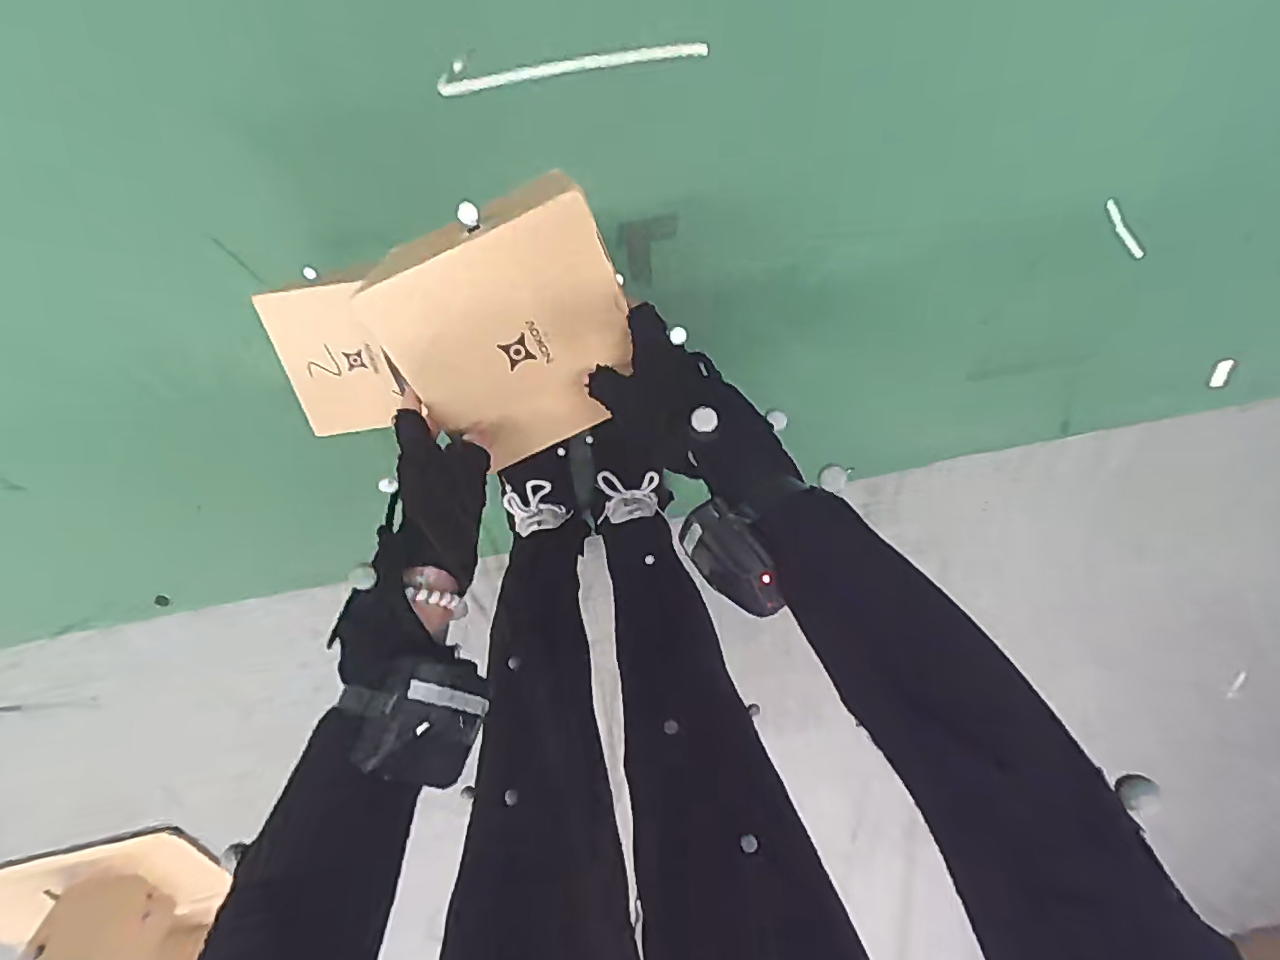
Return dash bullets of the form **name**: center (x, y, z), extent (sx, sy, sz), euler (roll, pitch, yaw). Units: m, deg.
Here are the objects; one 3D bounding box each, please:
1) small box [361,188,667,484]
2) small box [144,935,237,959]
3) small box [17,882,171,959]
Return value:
- **small box**: center (-0.099, -0.131, 0.470), extent (0.179, 0.176, 0.168), euler (-25, 125, 1)
- **small box**: center (-1.161, 1.285, 1.356), extent (0.179, 0.176, 0.168), euler (-15, 120, 1)
- **small box**: center (-1.234, 1.052, 1.220), extent (0.179, 0.176, 0.168), euler (-10, 121, -3)
